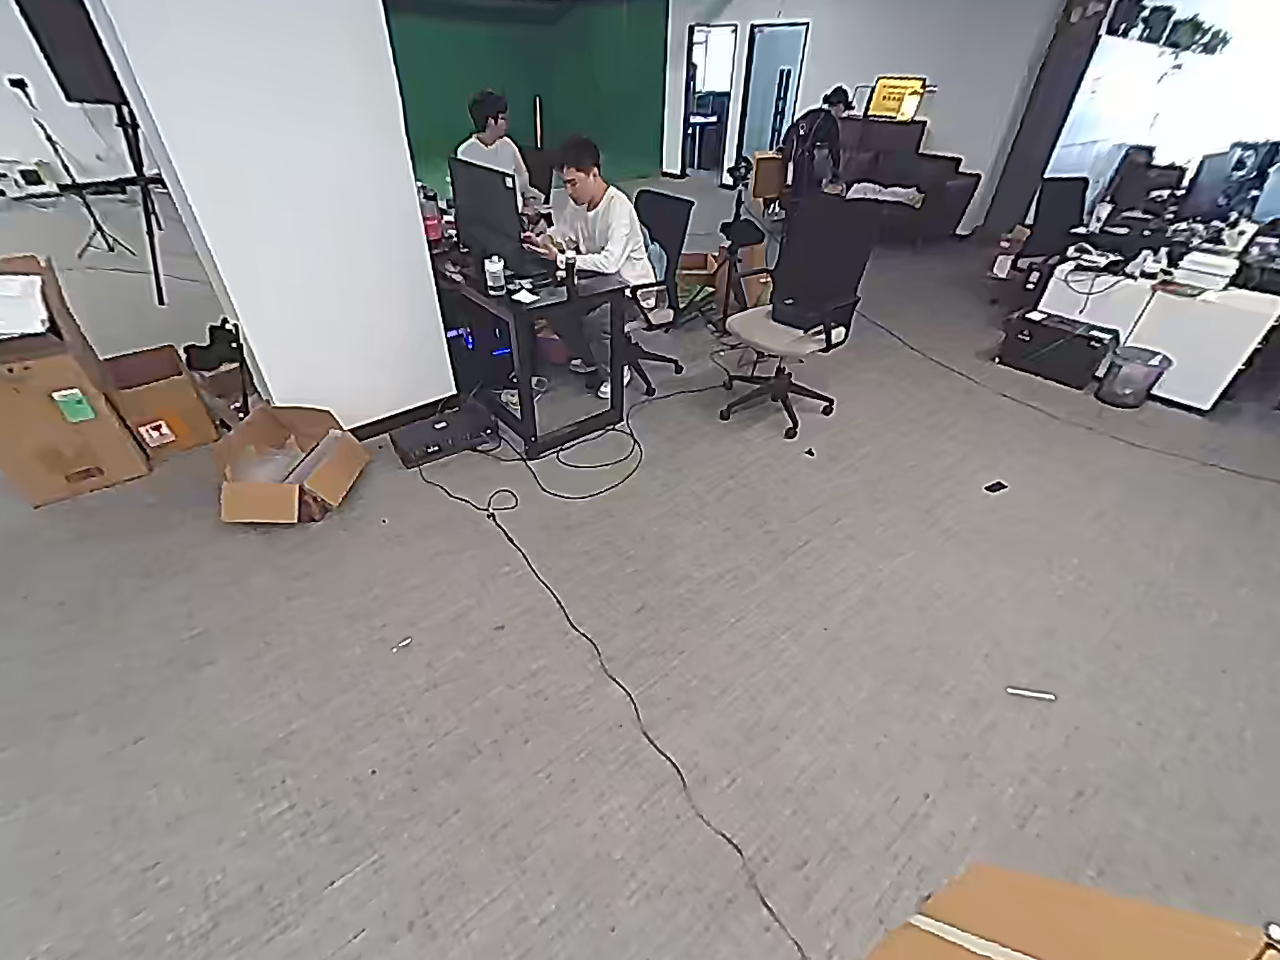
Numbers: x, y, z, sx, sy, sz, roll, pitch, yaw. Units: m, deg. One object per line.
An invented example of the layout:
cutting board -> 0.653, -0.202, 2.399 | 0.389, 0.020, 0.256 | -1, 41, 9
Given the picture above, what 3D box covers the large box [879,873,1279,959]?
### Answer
large box -> 0.535, 0.725, 0.604 | 0.320, 0.408, 0.320 | -20, 71, -21
